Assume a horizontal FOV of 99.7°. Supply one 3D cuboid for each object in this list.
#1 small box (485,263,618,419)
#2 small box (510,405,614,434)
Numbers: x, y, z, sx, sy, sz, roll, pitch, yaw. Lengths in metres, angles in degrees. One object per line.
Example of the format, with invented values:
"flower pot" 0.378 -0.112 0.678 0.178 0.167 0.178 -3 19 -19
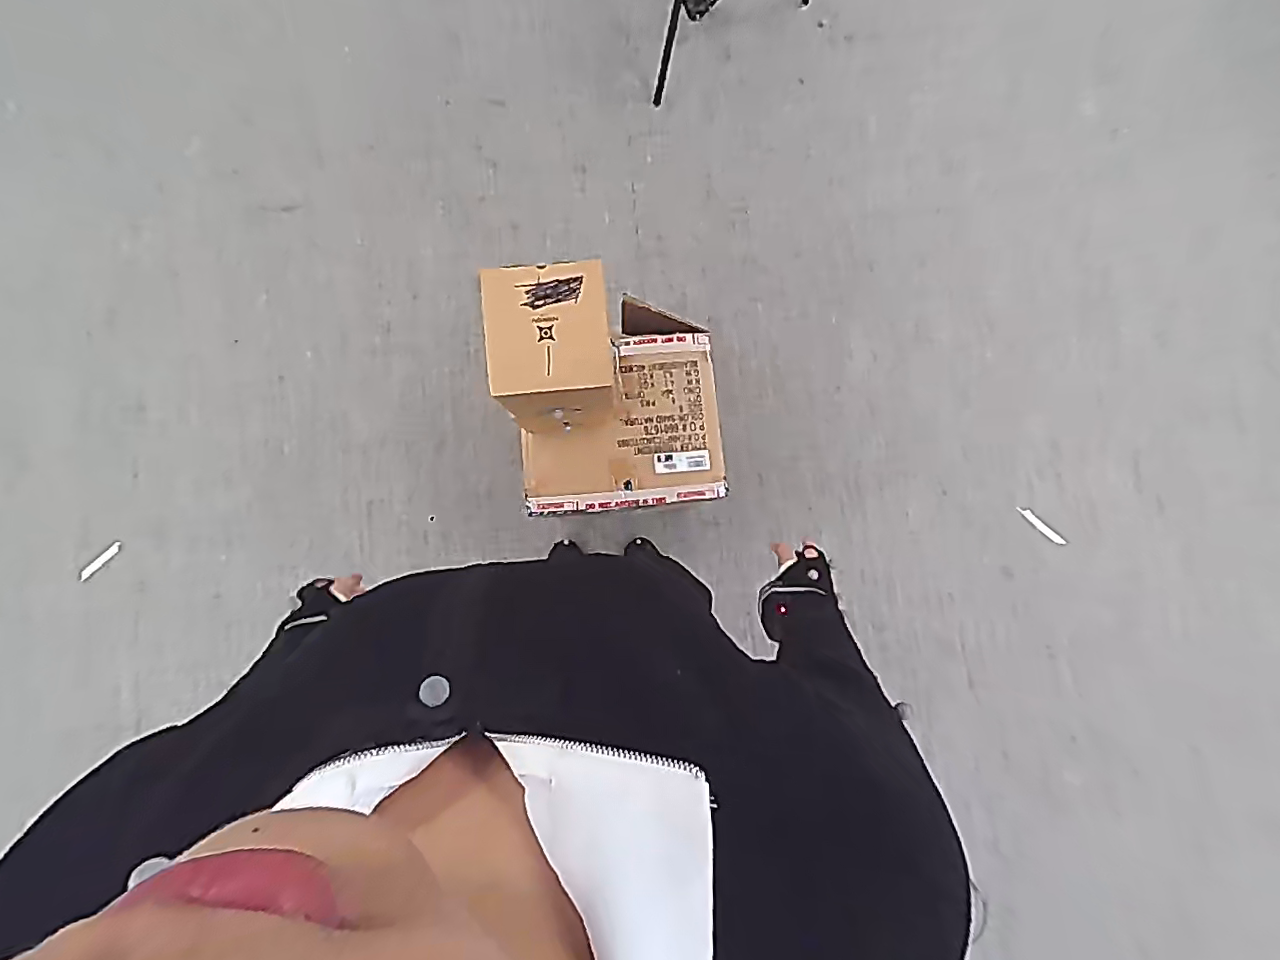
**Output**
"small box" -0.122 -0.195 0.798 0.168 0.176 0.179 -5 88 -1
"small box" -0.139 -0.187 0.962 0.168 0.176 0.179 -8 87 -1
